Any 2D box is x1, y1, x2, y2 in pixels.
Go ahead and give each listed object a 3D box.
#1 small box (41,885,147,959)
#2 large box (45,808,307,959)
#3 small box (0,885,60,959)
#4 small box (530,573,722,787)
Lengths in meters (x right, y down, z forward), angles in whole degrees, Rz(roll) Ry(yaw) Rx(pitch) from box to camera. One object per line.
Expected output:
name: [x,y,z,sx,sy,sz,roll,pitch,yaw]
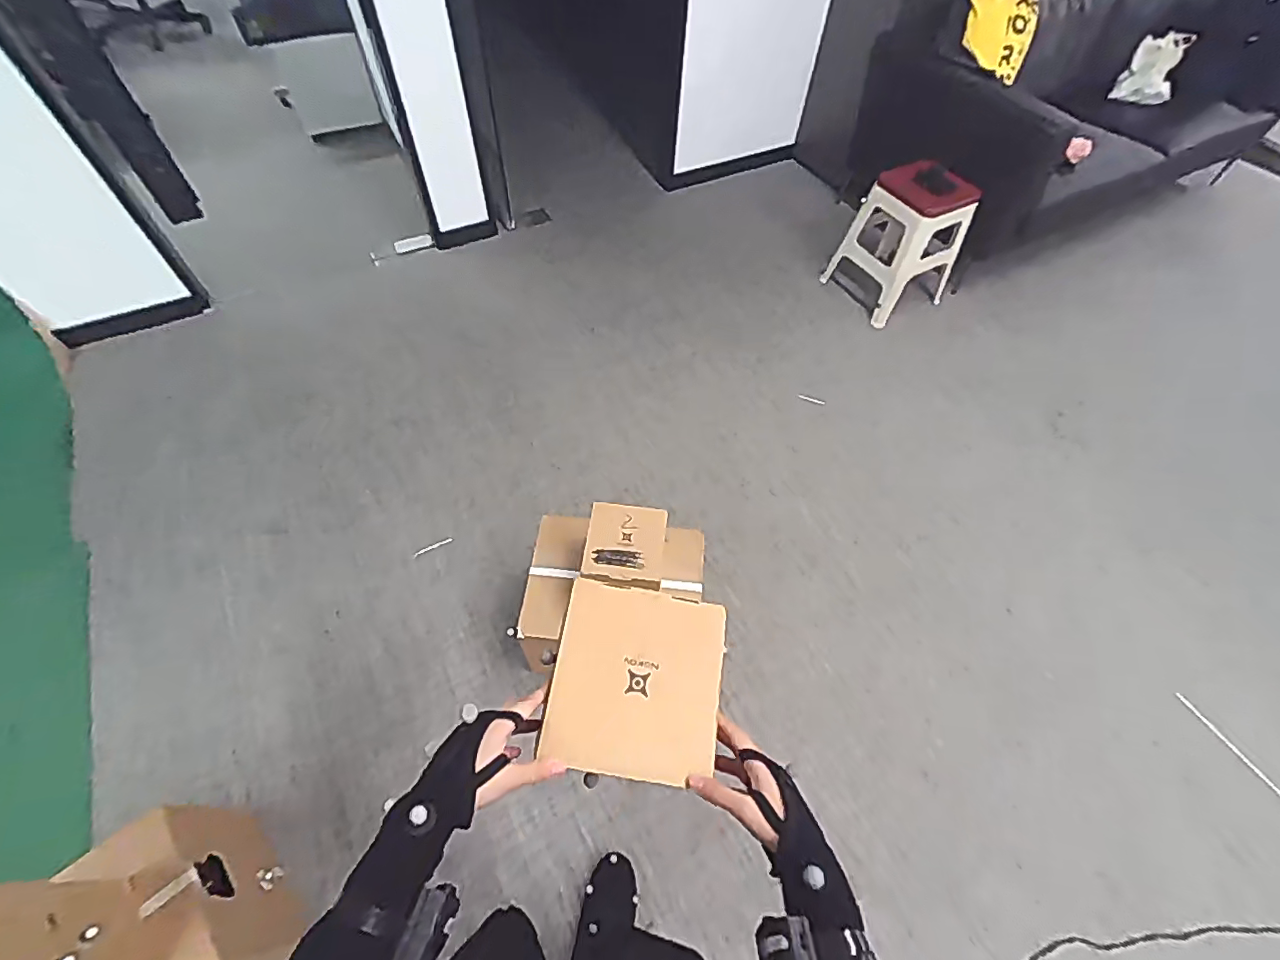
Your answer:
small box: [-0.870,0.725,0.780,0.168,0.176,0.179,-35,64,-24]
large box: [-0.920,0.877,0.970,0.408,0.320,0.320,-37,64,-23]
small box: [-0.862,0.629,0.648,0.179,0.176,0.168,-37,65,-24]
small box: [-0.017,0.223,0.595,0.168,0.176,0.179,12,61,-5]
